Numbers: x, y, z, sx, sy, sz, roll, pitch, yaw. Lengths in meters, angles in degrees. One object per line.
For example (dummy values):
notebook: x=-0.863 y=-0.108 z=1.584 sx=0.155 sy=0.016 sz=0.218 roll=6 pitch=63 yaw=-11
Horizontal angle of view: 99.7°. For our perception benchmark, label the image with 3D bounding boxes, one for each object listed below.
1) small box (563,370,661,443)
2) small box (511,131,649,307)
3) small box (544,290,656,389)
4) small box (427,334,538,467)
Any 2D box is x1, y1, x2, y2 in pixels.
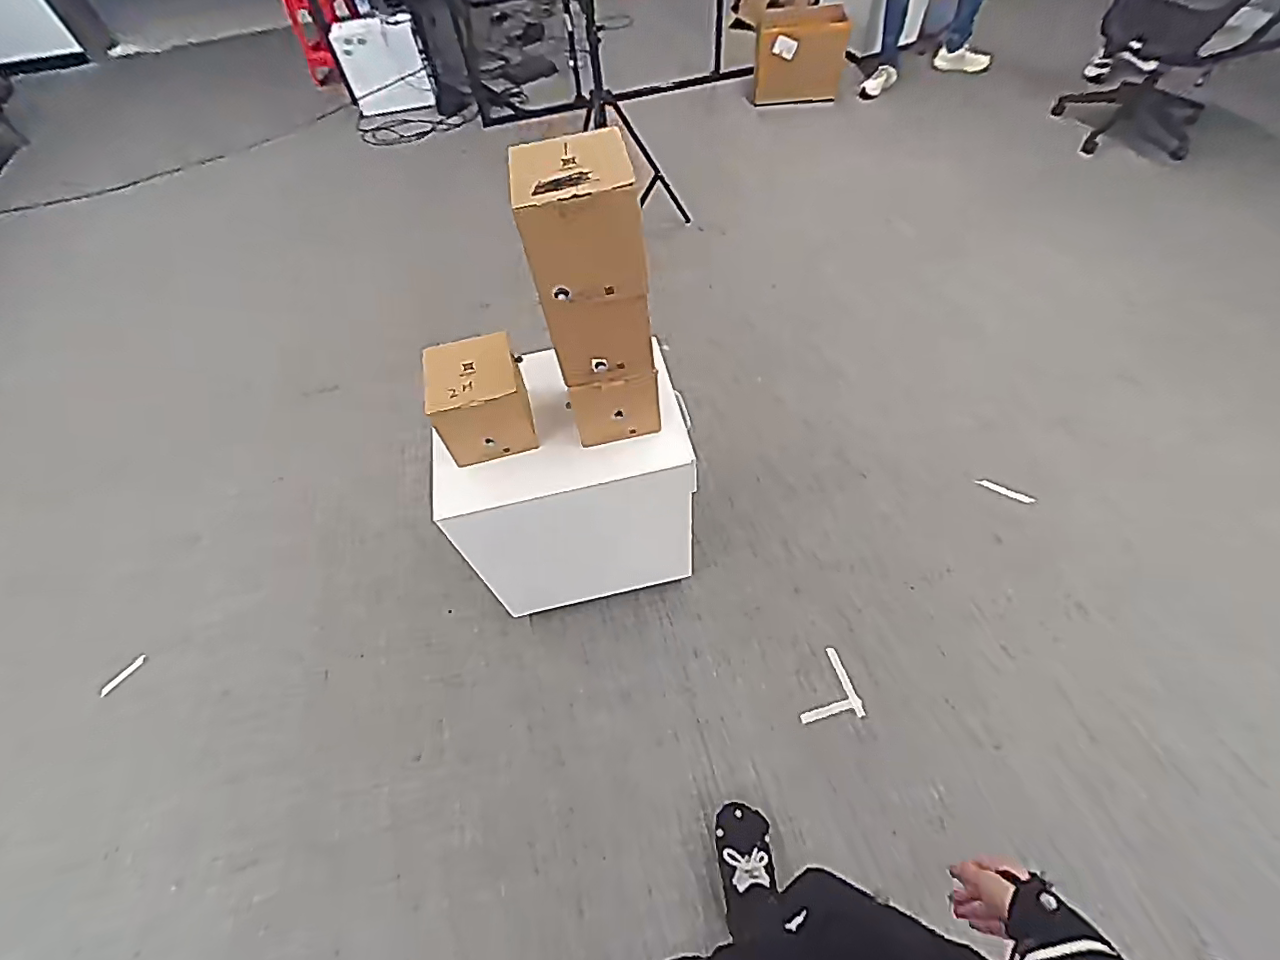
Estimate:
small box: x=-0.056 y=-0.191 z=1.072 sx=0.168 sy=0.176 sz=0.179 roll=-13 pitch=57 yaw=-1
small box: x=-0.086 y=-0.377 z=0.803 sx=0.168 sy=0.176 sz=0.179 roll=-11 pitch=55 yaw=0
small box: x=-0.072 y=-0.288 z=0.941 sx=0.168 sy=0.176 sz=0.179 roll=-13 pitch=57 yaw=-1
small box: x=-0.309 y=-0.154 z=1.070 sx=0.168 sy=0.176 sz=0.179 roll=-15 pitch=57 yaw=-4
